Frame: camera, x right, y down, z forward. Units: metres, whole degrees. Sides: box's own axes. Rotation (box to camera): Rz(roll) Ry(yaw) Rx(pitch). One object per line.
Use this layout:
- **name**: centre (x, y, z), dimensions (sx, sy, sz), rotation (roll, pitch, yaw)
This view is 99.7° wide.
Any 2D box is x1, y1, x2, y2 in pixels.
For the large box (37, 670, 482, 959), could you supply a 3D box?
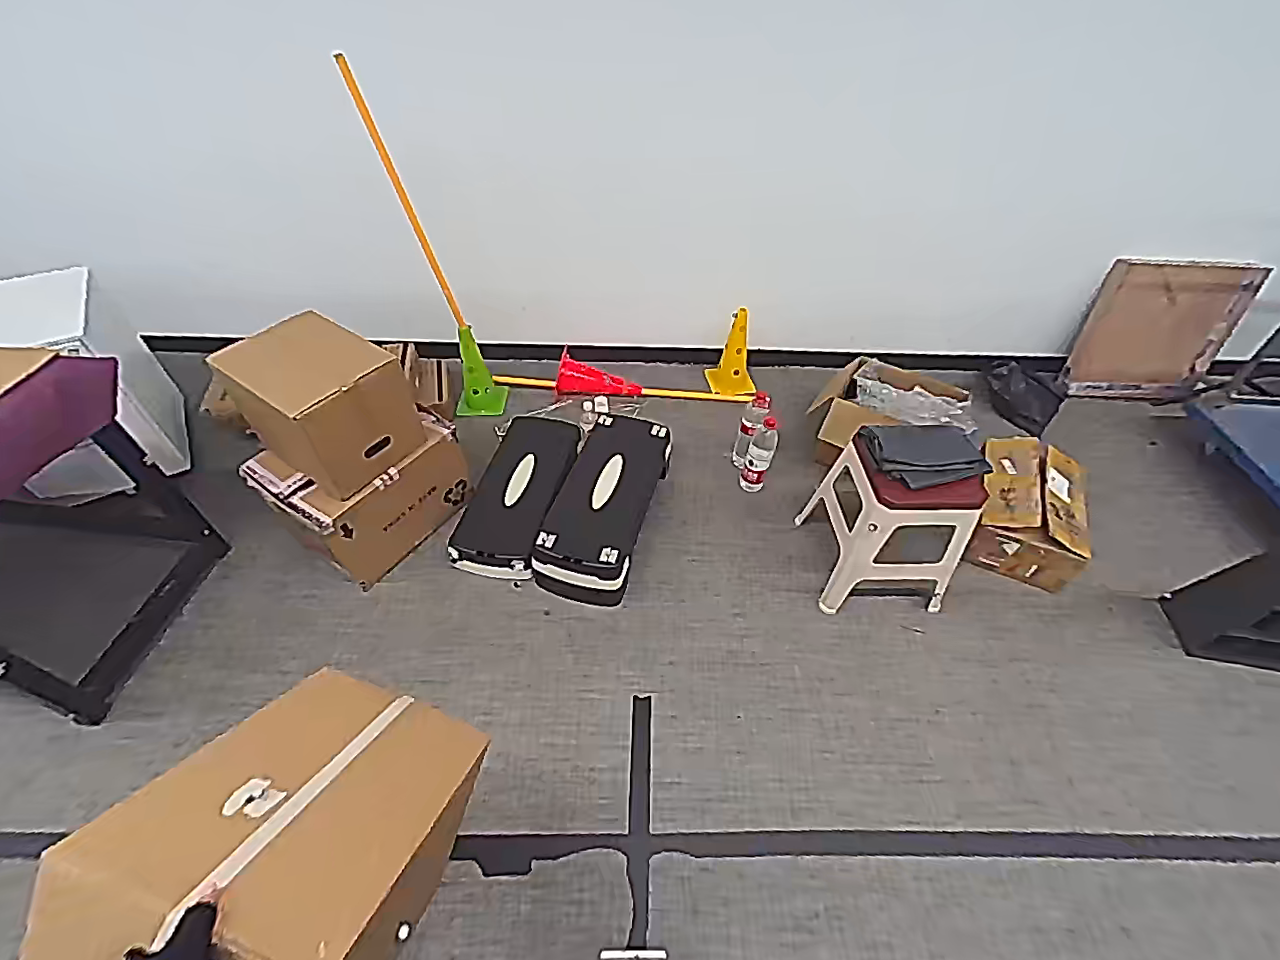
- **large box**: centre (-0.480, 0.547, 0.756), dimensions (0.320, 0.320, 0.408), rotation (21, 11, 5)
